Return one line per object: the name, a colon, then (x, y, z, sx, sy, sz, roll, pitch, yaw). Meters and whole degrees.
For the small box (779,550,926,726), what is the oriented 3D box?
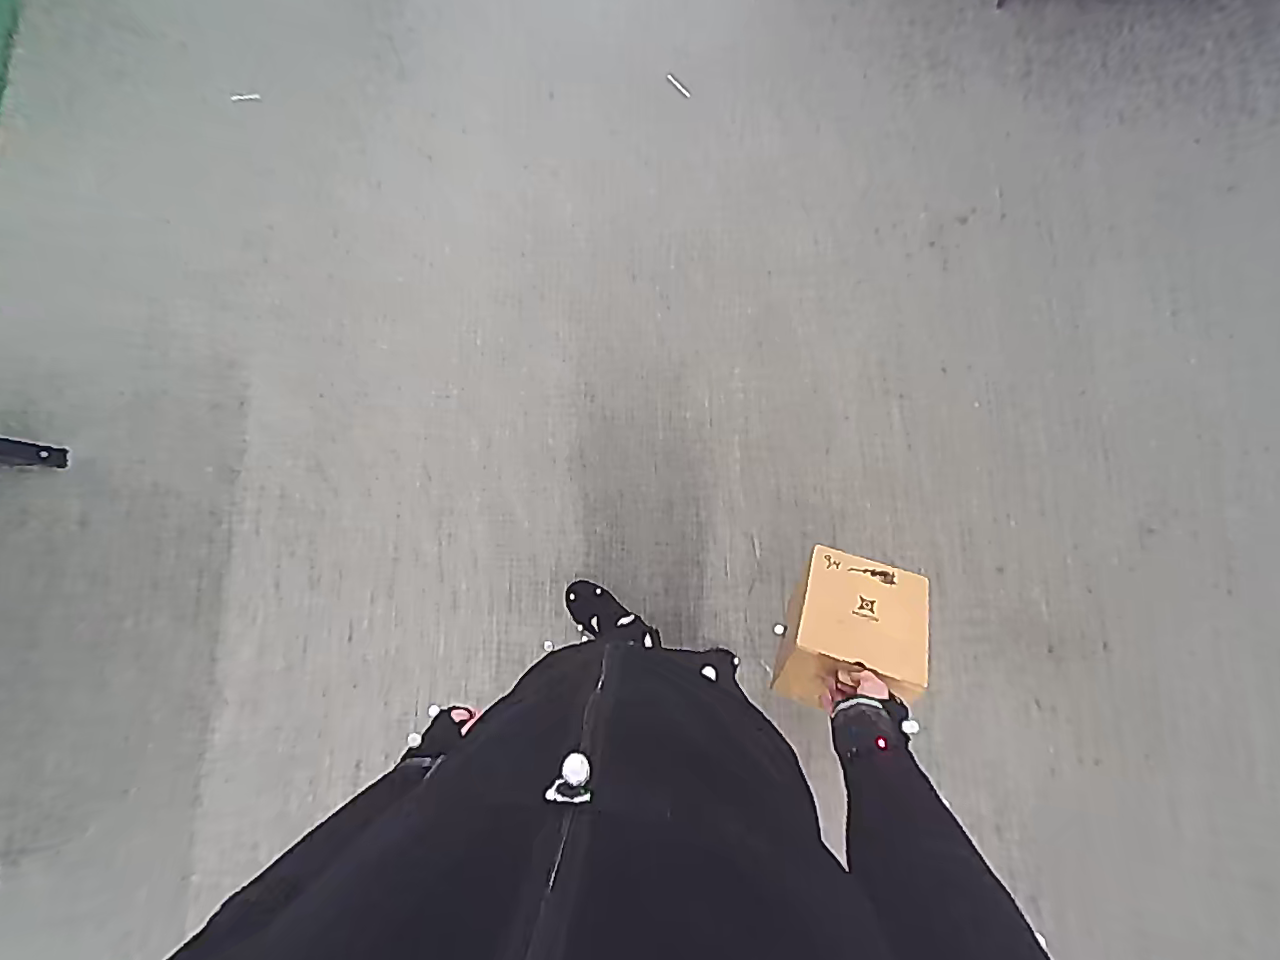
small box: (0.309, 0.237, 0.804, 0.168, 0.176, 0.179, 13, 49, 12)
